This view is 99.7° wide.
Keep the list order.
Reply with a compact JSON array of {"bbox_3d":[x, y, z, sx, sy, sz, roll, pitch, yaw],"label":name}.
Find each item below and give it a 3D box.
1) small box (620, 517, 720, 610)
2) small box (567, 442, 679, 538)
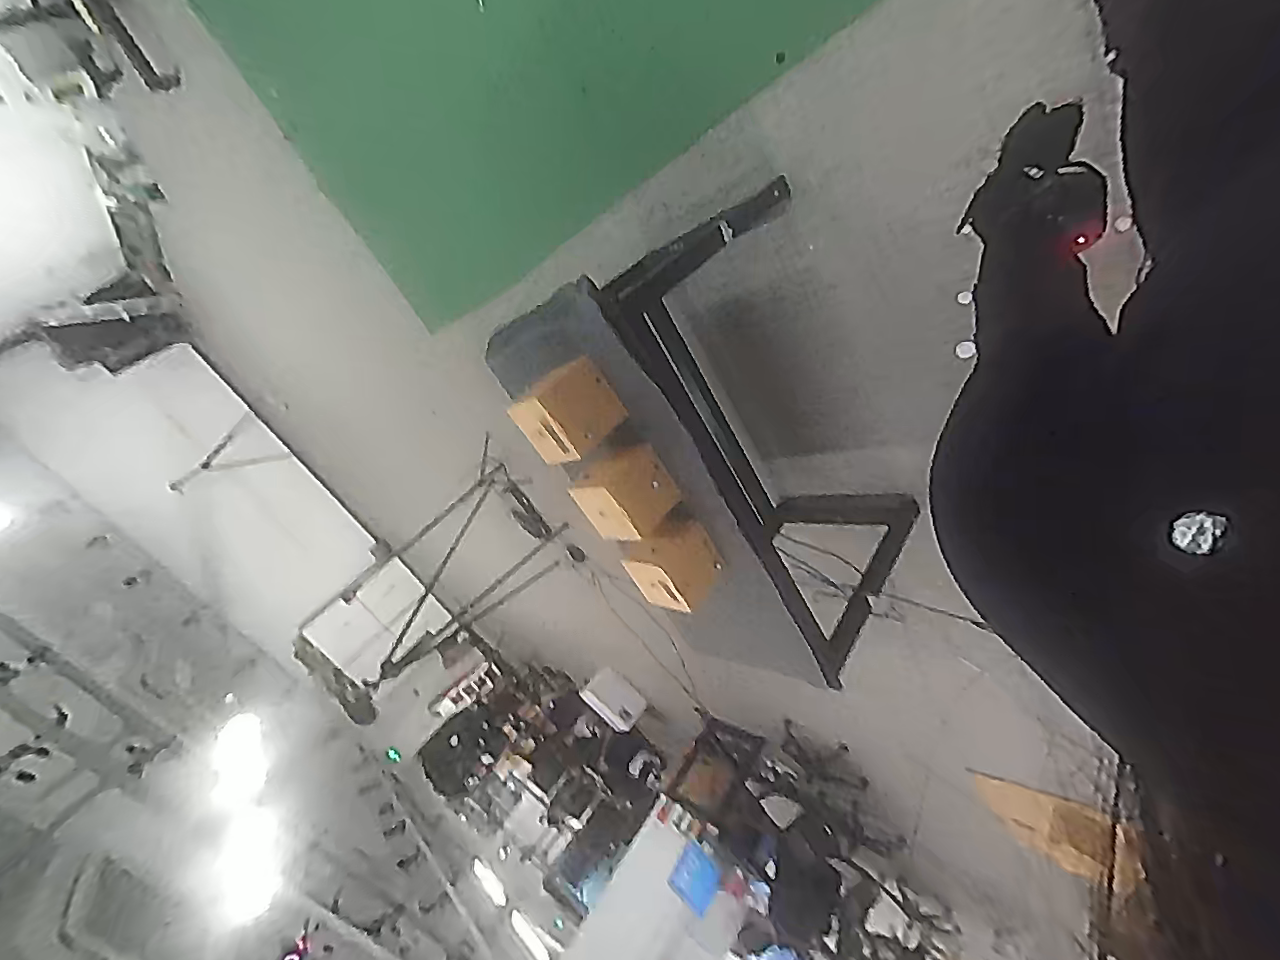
[{"bbox_3d":[0.087,0.211,1.417,0.179,0.176,0.168,-1,128,51],"label":"small box"},{"bbox_3d":[-0.038,0.024,1.327,0.179,0.176,0.168,-4,126,52],"label":"small box"}]
